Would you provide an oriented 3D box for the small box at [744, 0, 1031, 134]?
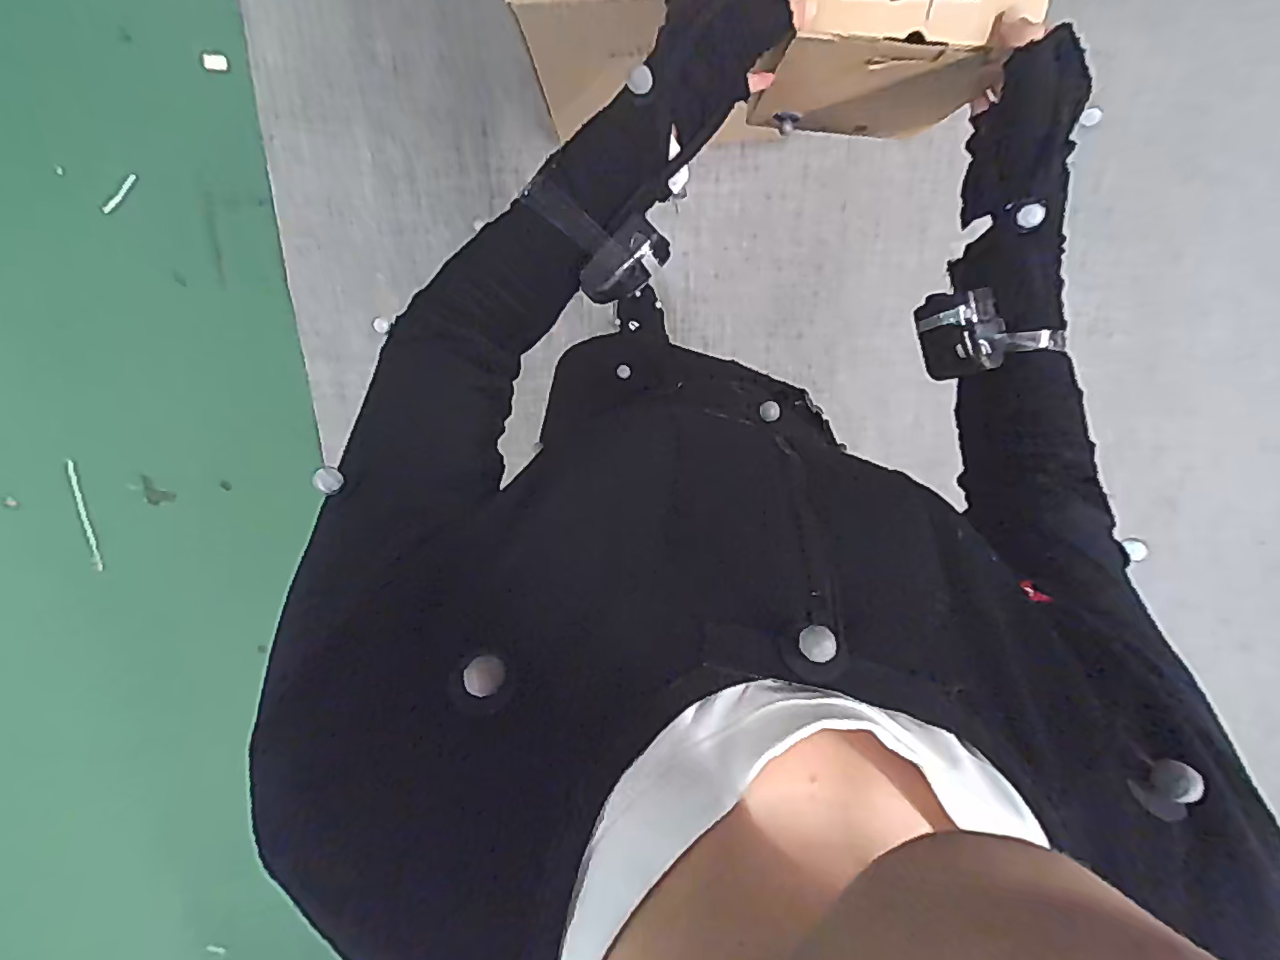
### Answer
[{"bbox_3d":[0.183,-0.397,0.420,0.168,0.176,0.179,4,104,-2],"label":"small box"}]
